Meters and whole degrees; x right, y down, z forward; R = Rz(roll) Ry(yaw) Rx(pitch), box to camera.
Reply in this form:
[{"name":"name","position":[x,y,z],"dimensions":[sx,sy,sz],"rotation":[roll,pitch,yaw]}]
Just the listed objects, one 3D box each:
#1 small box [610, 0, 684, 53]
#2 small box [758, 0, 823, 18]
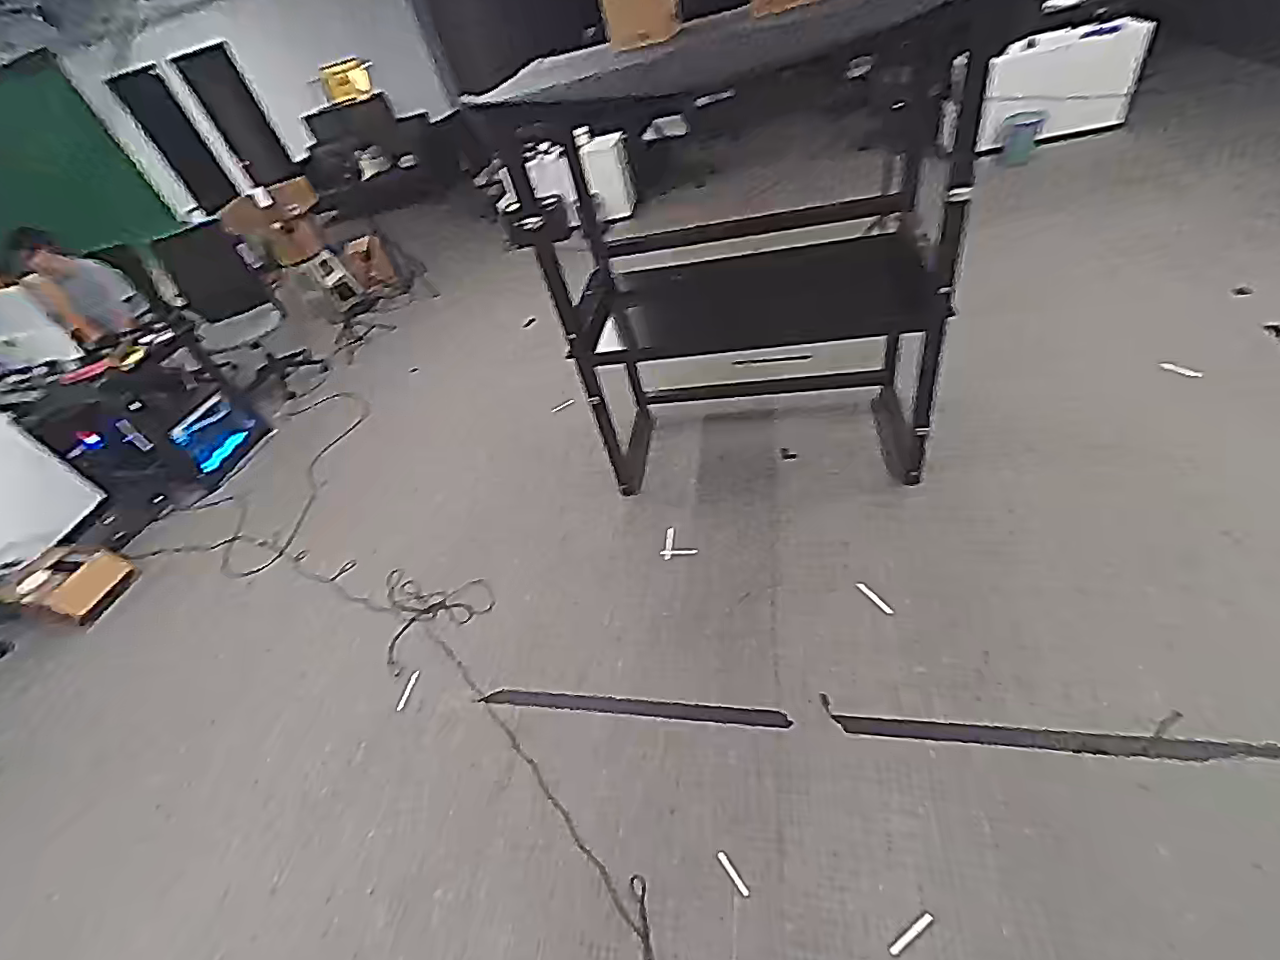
[{"name":"small box","position":[0.019,-1.296,1.478],"dimensions":[0.168,0.176,0.179],"rotation":[1,46,19]},{"name":"small box","position":[0.377,-1.290,1.357],"dimensions":[0.168,0.176,0.179],"rotation":[-4,44,14]}]
